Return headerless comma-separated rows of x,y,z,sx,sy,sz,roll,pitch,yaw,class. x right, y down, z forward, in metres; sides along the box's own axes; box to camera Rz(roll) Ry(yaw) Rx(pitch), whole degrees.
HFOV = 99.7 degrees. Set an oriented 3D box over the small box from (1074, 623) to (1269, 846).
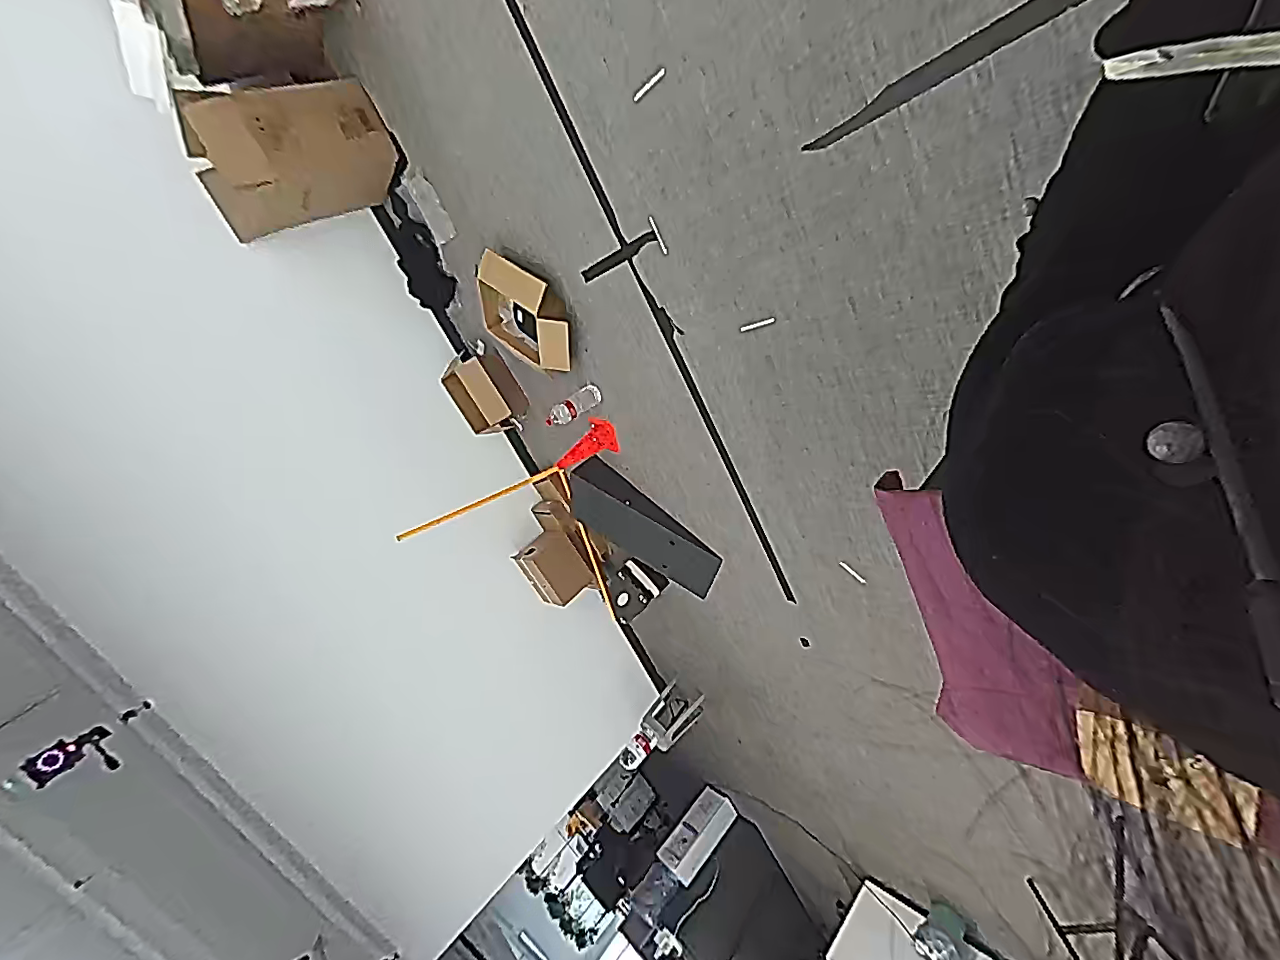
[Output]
0.714,0.329,0.730,0.168,0.176,0.179,7,128,50,small box
